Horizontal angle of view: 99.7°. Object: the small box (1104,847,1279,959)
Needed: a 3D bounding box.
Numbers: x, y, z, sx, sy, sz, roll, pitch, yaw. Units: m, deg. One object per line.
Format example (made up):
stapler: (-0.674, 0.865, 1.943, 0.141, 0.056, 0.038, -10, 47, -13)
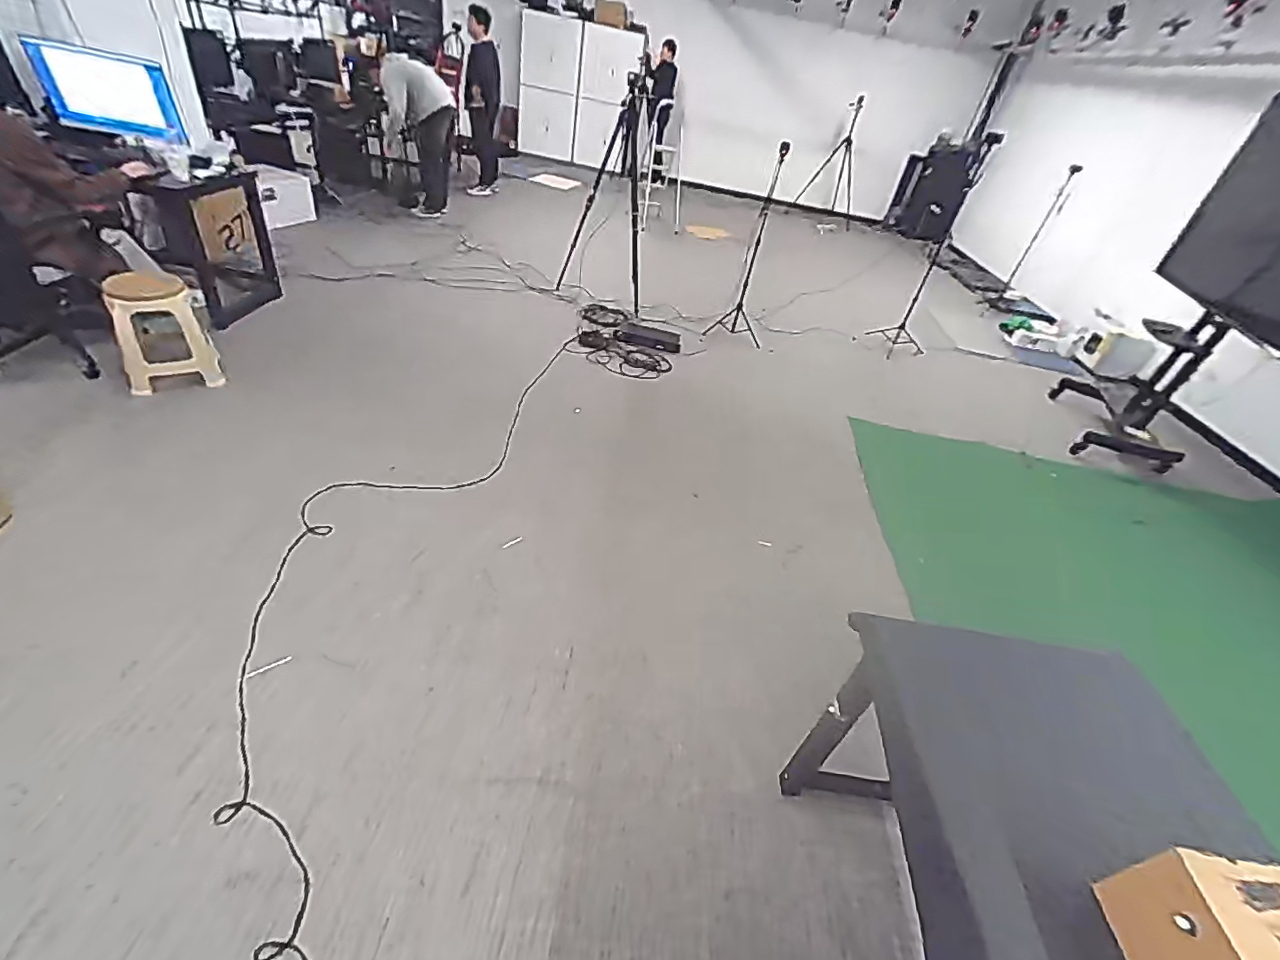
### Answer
small box: (0.773, 0.619, 0.704, 0.168, 0.176, 0.179, 11, 38, -1)
